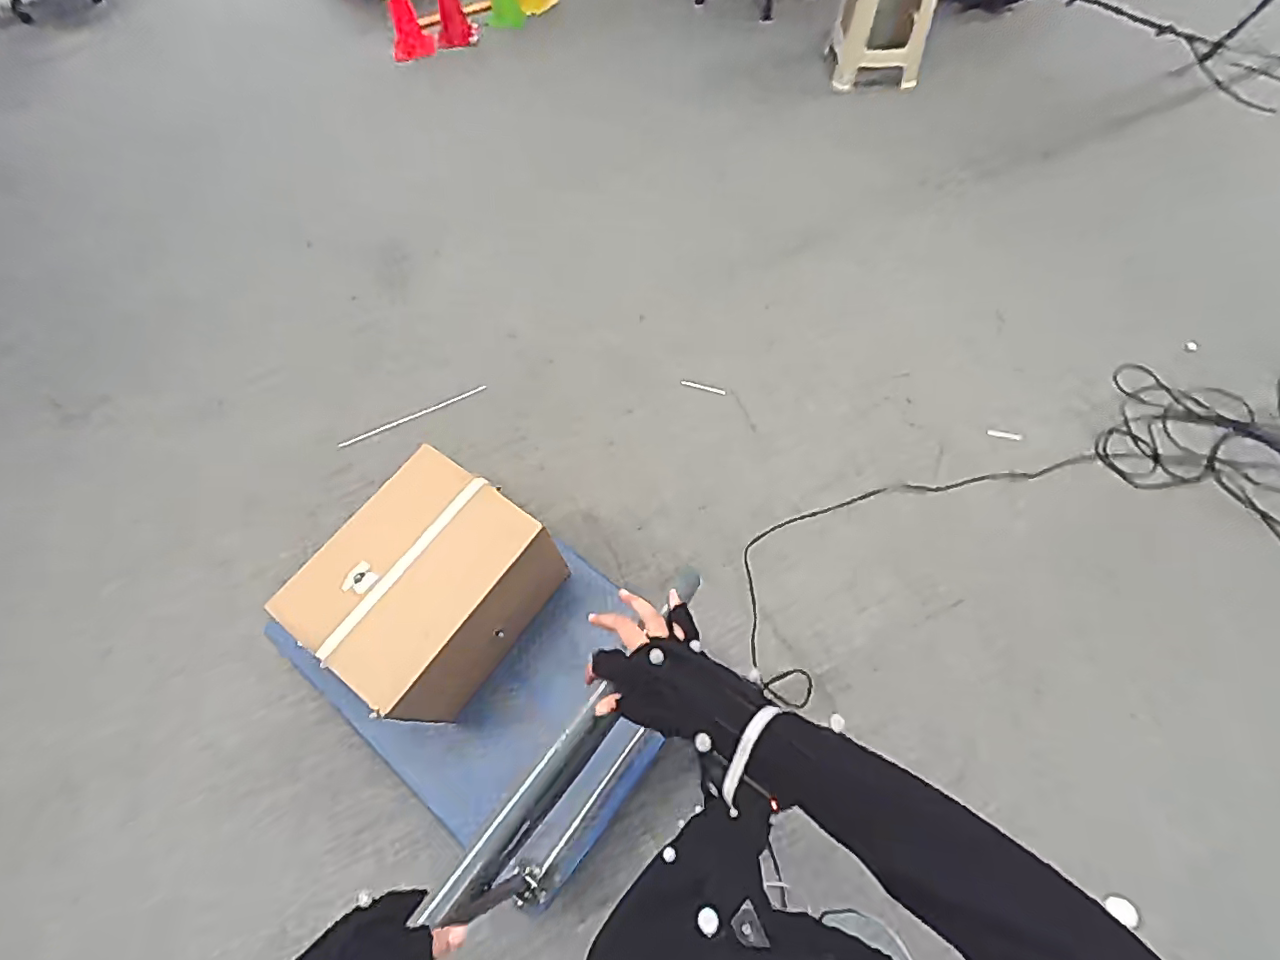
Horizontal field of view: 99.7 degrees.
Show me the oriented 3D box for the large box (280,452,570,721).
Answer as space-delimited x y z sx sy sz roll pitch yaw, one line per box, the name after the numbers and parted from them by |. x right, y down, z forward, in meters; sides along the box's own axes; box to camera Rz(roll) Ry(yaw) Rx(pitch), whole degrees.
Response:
-0.400 0.227 1.116 0.320 0.320 0.408 32 71 18 | large box
